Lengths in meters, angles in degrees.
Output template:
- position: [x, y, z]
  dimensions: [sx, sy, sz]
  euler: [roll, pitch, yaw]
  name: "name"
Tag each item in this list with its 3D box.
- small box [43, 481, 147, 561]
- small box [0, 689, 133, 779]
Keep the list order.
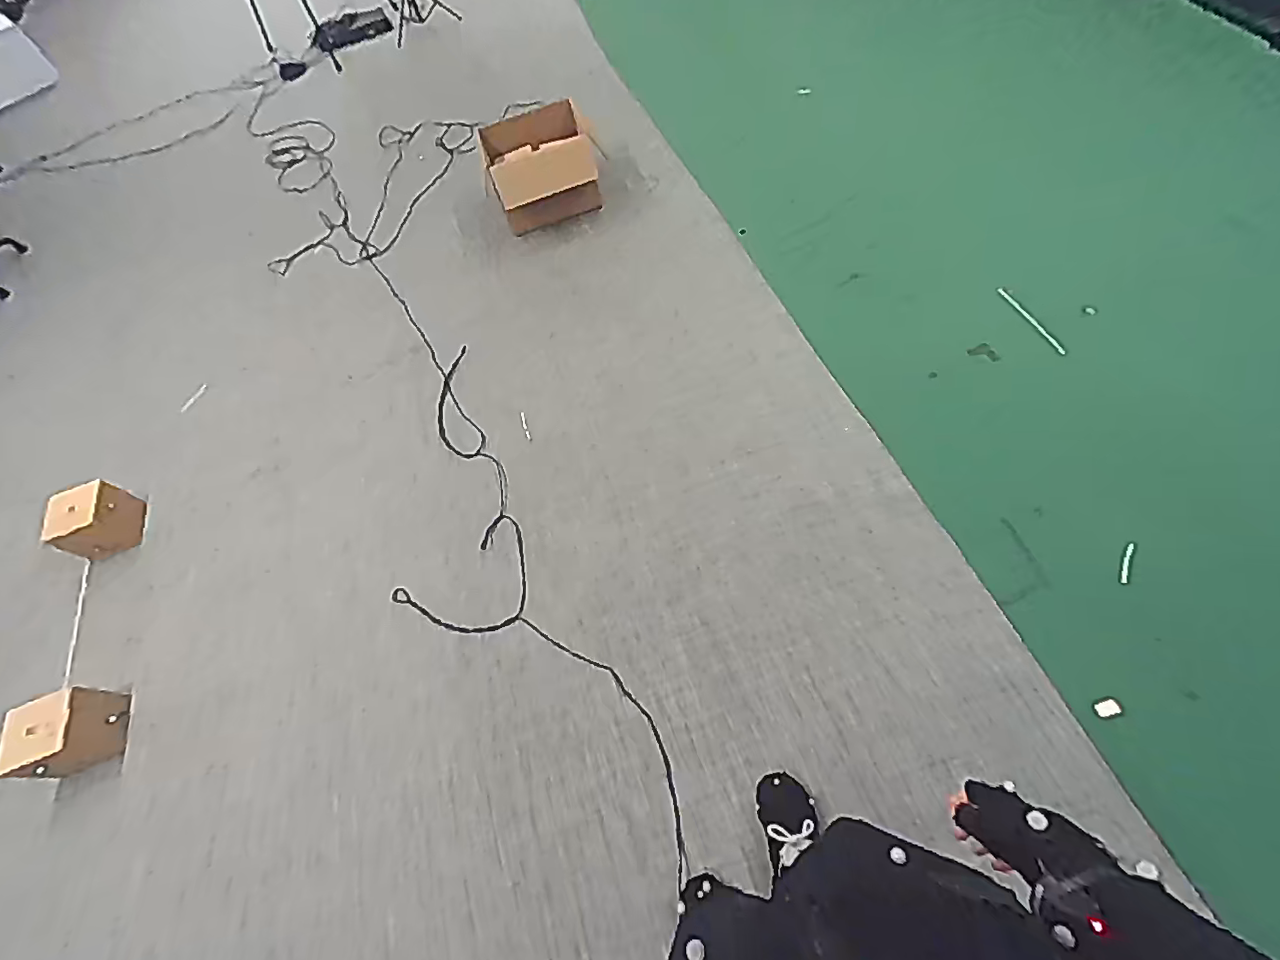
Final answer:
- position: [-1.772, 0.138, 1.771]
  dimensions: [0.168, 0.176, 0.179]
  euler: [-21, 61, -4]
  name: "small box"
- position: [-1.519, 0.679, 1.435]
  dimensions: [0.179, 0.176, 0.168]
  euler: [-22, 61, -3]
  name: "small box"
